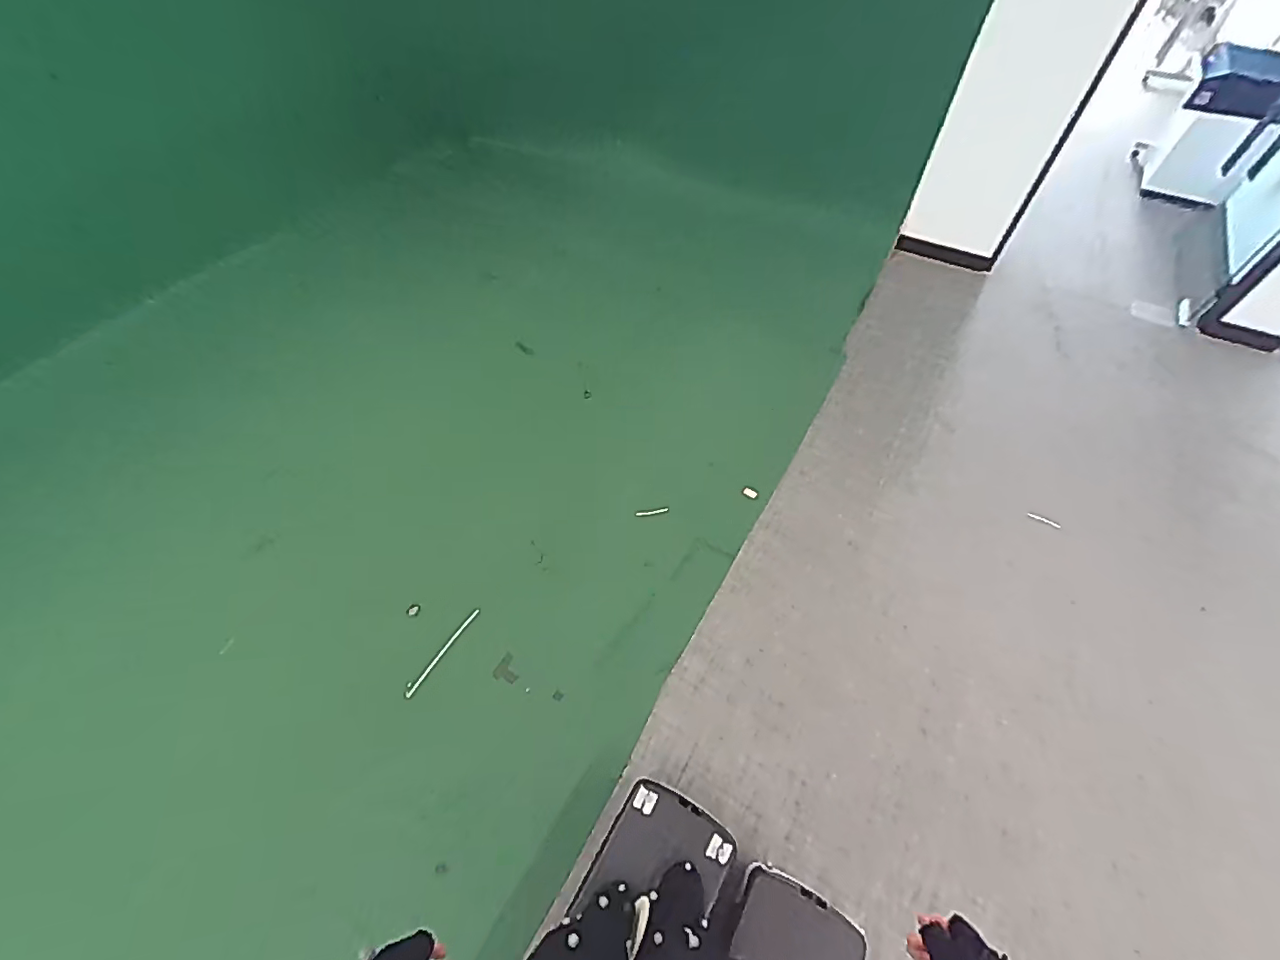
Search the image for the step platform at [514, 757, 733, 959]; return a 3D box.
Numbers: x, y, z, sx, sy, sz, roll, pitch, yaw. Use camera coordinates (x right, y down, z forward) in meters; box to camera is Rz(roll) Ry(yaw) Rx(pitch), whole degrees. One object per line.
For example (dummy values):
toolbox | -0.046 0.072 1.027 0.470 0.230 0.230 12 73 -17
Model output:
step platform | -0.086 0.918 1.025 0.286 0.204 0.684 26 60 16
